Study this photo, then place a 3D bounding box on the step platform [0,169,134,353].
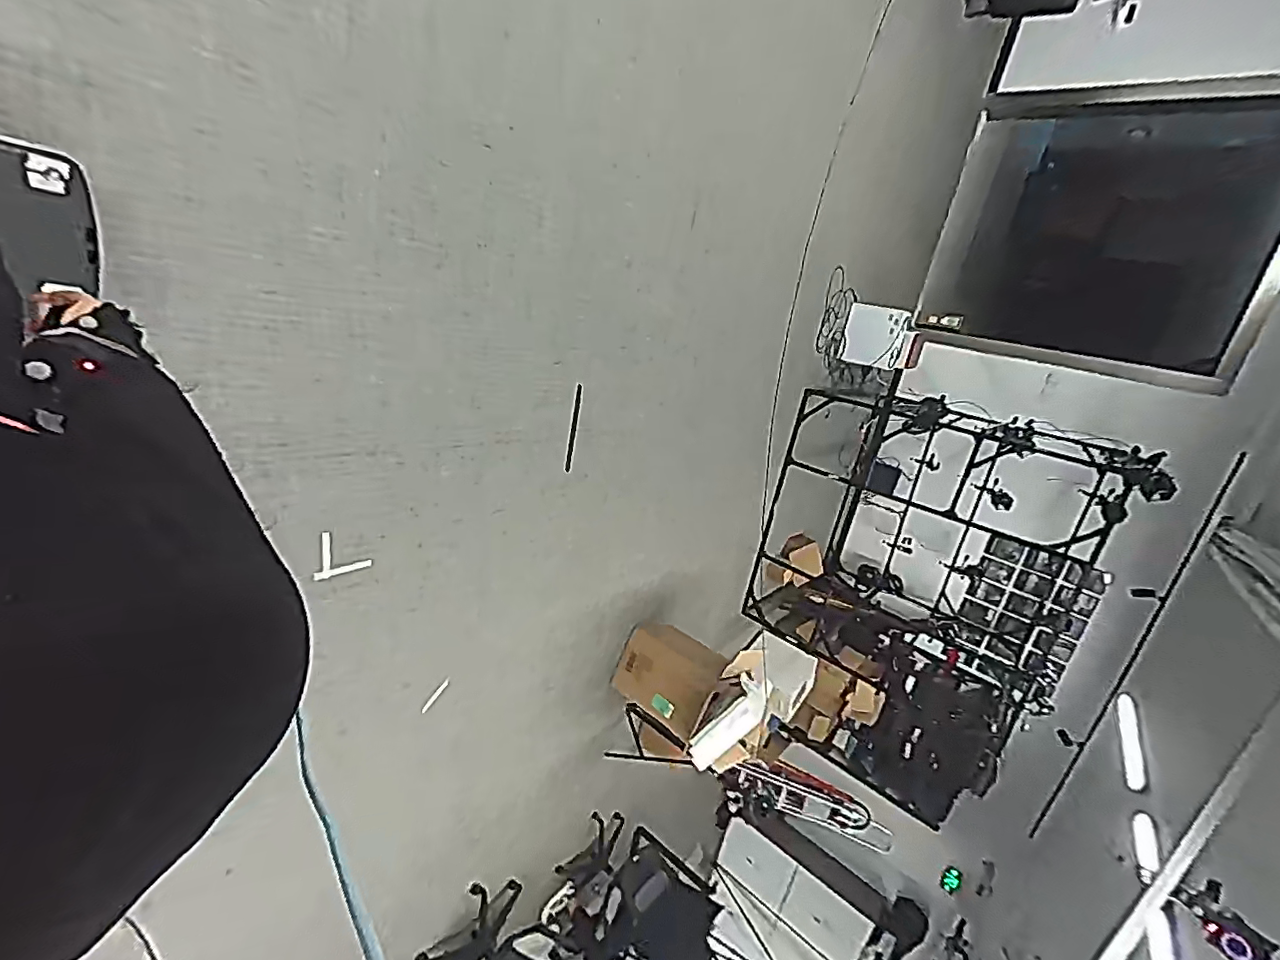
[{"bbox_3d":[-1.206,-0.380,0.789,0.684,0.204,0.286,-4,111,-54],"label":"step platform"}]
